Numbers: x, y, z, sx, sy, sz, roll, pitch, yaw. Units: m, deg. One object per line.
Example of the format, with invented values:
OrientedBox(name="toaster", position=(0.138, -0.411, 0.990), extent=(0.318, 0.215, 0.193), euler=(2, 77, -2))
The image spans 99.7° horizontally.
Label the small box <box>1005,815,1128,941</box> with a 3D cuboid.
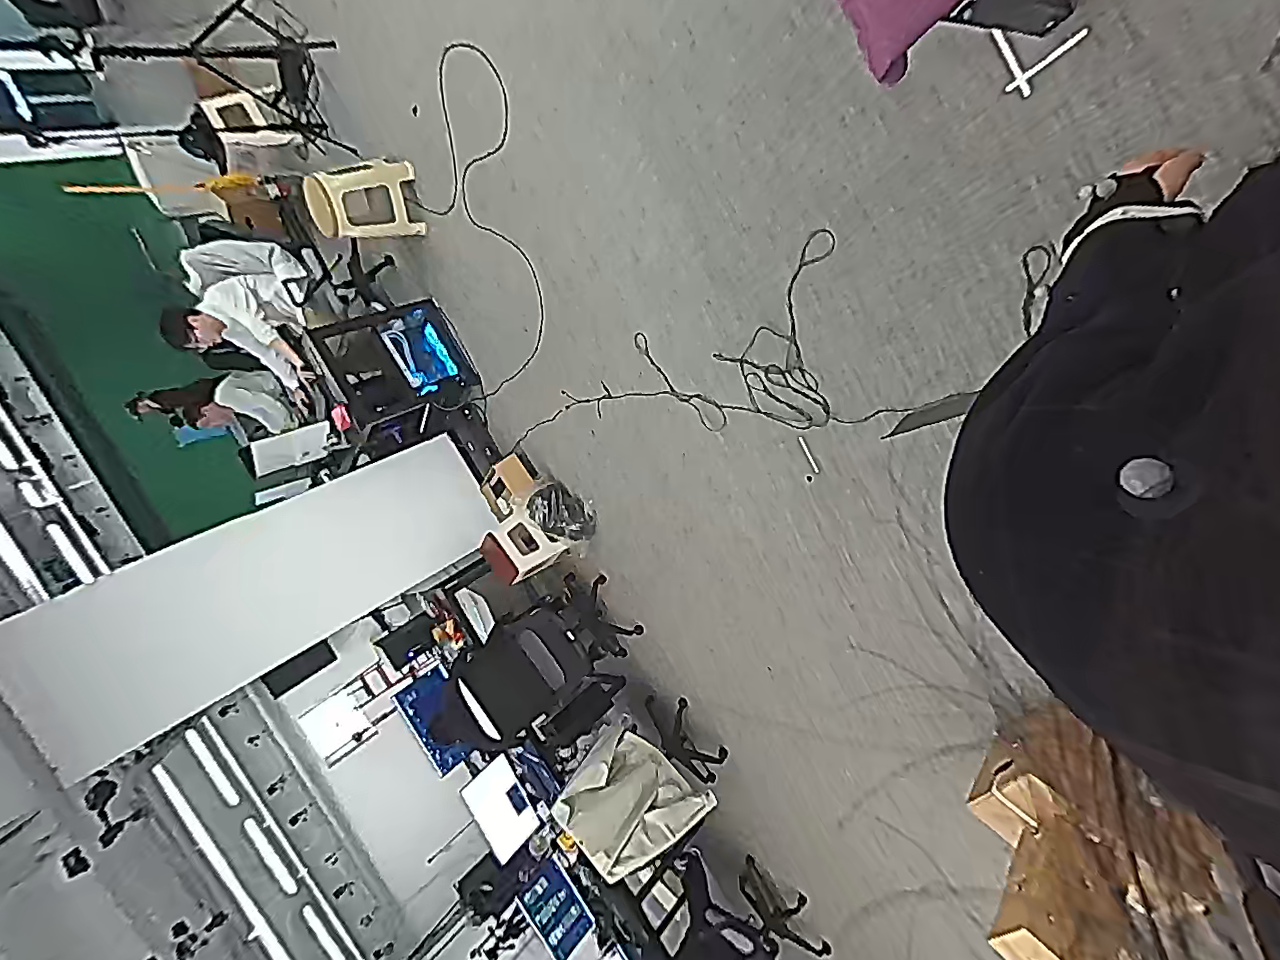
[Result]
OrientedBox(name="small box", position=(1.082, 1.003, 1.370), extent=(0.179, 0.176, 0.168), euler=(37, 139, 29))
